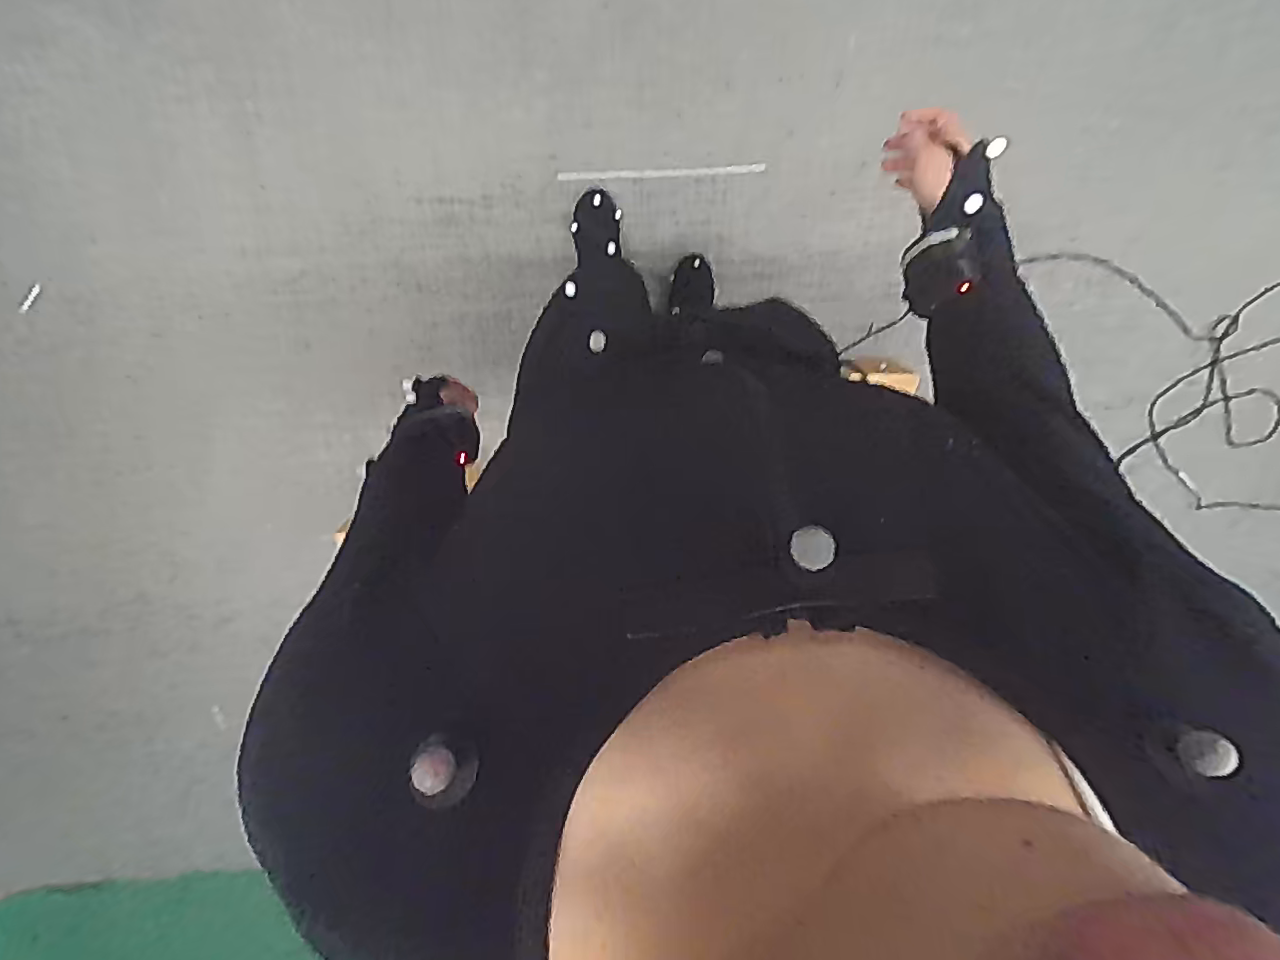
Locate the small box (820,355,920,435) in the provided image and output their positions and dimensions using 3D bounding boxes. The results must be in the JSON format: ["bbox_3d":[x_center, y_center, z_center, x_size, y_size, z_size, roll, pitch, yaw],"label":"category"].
[{"bbox_3d":[0.577,-0.220,1.385,0.179,0.176,0.168,-1,115,-2],"label":"small box"}]
